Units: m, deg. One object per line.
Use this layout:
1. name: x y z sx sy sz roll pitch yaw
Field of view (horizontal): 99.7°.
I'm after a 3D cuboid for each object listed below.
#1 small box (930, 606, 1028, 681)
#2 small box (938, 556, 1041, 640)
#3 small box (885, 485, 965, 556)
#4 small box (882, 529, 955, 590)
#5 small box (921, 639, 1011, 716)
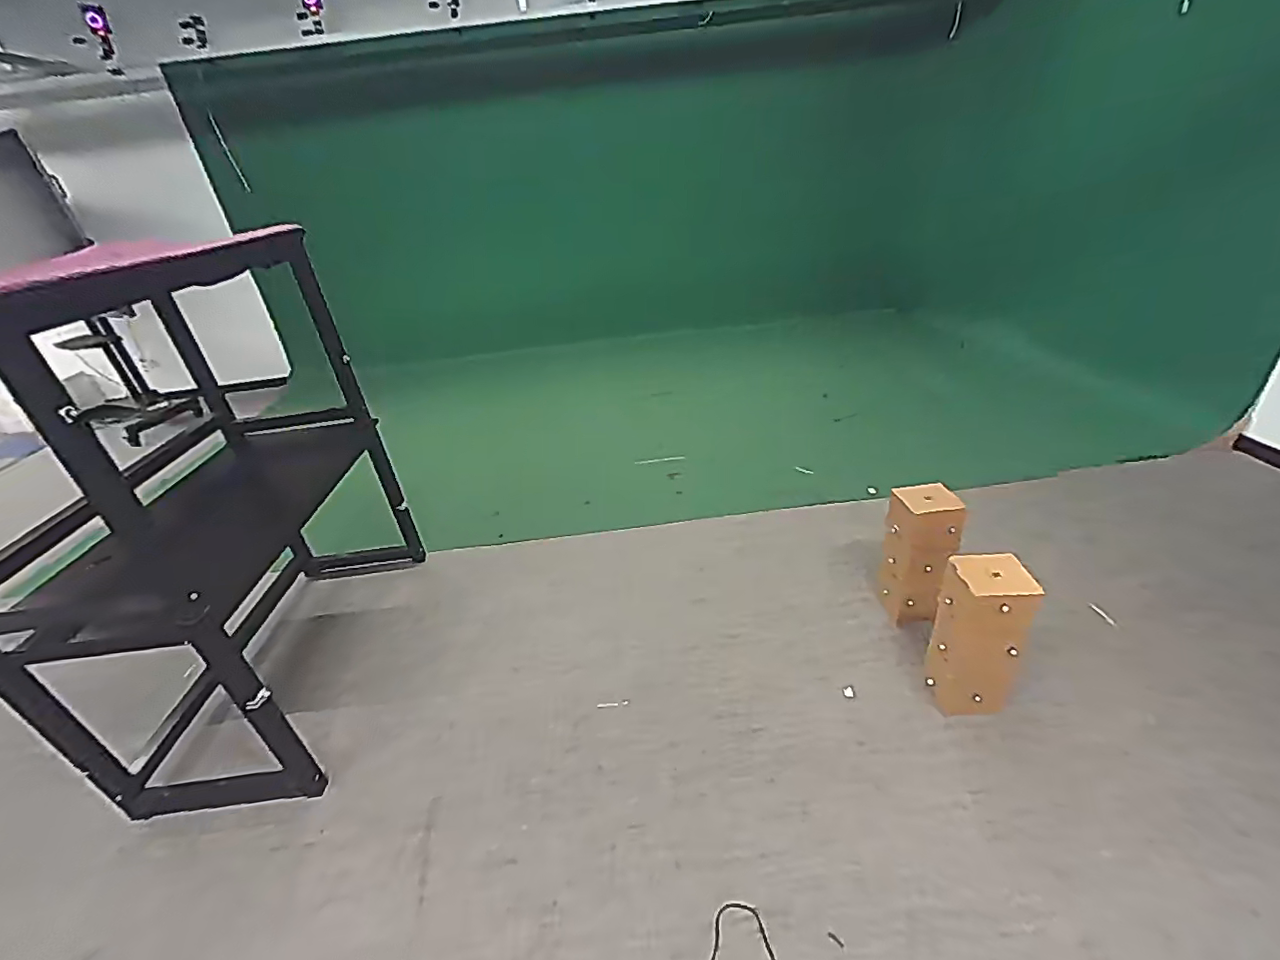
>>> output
1. small box: 0.990 0.472 1.595 0.179 0.176 0.168 -5 30 4
2. small box: 0.968 0.332 1.516 0.179 0.176 0.168 -4 31 6
3. small box: 0.961 0.138 1.843 0.179 0.176 0.168 -8 29 -1
4. small box: 0.982 0.275 1.927 0.179 0.176 0.168 -8 30 -2
5. small box: 1.003 0.612 1.682 0.179 0.176 0.168 -4 31 6
